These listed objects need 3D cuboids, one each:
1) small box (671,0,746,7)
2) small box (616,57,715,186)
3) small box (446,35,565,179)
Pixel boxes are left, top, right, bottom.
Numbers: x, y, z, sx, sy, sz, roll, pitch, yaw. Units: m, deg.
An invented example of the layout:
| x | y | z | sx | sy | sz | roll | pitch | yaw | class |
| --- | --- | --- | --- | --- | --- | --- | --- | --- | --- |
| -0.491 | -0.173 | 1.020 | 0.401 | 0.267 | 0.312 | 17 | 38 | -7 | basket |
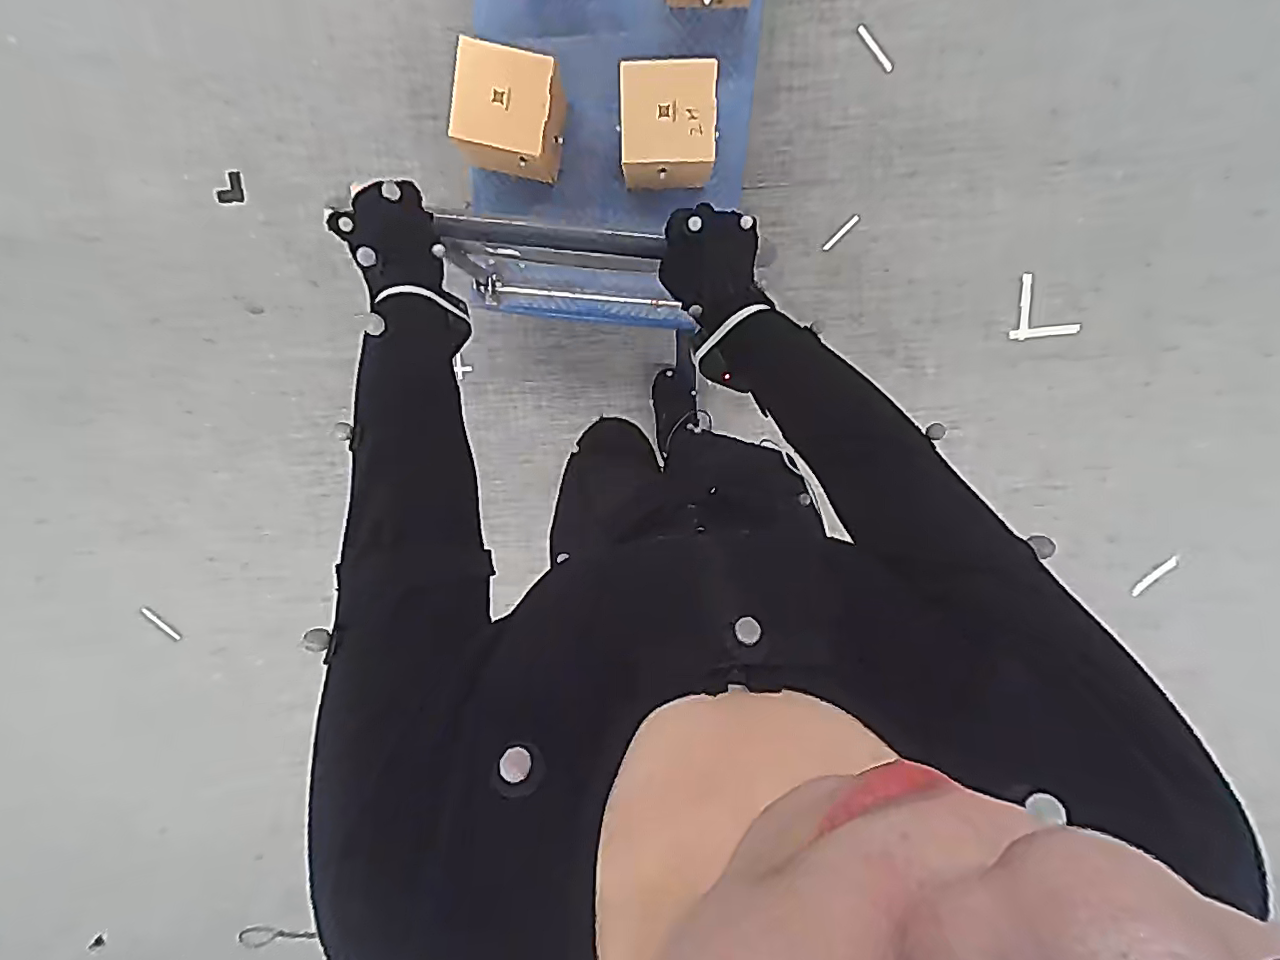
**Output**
| x | y | z | sx | sy | sz | roll | pitch | yaw | class |
| --- | --- | --- | --- | --- | --- | --- | --- | --- | --- |
| 0.131 | -1.003 | 0.967 | 0.168 | 0.176 | 0.179 | 2 | 105 | 1 | small box |
| 0.049 | -0.683 | 1.048 | 0.179 | 0.176 | 0.168 | 0 | 104 | 2 | small box |
| -0.254 | -0.709 | 1.049 | 0.179 | 0.176 | 0.168 | 11 | 103 | -3 | small box |
